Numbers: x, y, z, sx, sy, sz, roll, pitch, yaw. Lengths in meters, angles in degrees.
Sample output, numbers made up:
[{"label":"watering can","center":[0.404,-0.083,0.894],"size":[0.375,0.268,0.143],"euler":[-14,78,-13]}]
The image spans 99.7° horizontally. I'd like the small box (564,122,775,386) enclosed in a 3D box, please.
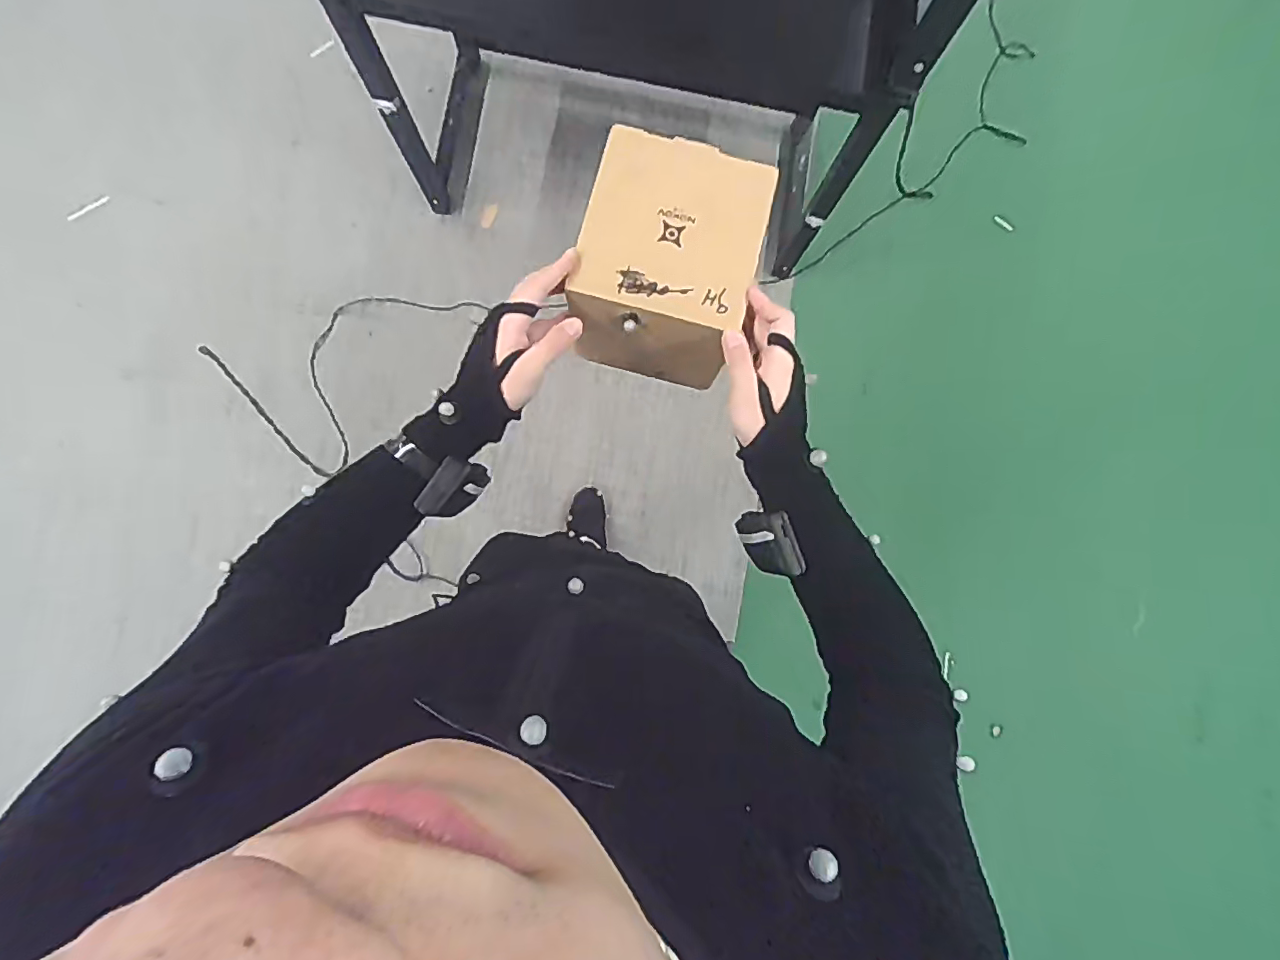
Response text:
[{"label":"small box","center":[0.026,-0.225,0.577],"size":[0.168,0.176,0.179],"euler":[15,81,0]}]
